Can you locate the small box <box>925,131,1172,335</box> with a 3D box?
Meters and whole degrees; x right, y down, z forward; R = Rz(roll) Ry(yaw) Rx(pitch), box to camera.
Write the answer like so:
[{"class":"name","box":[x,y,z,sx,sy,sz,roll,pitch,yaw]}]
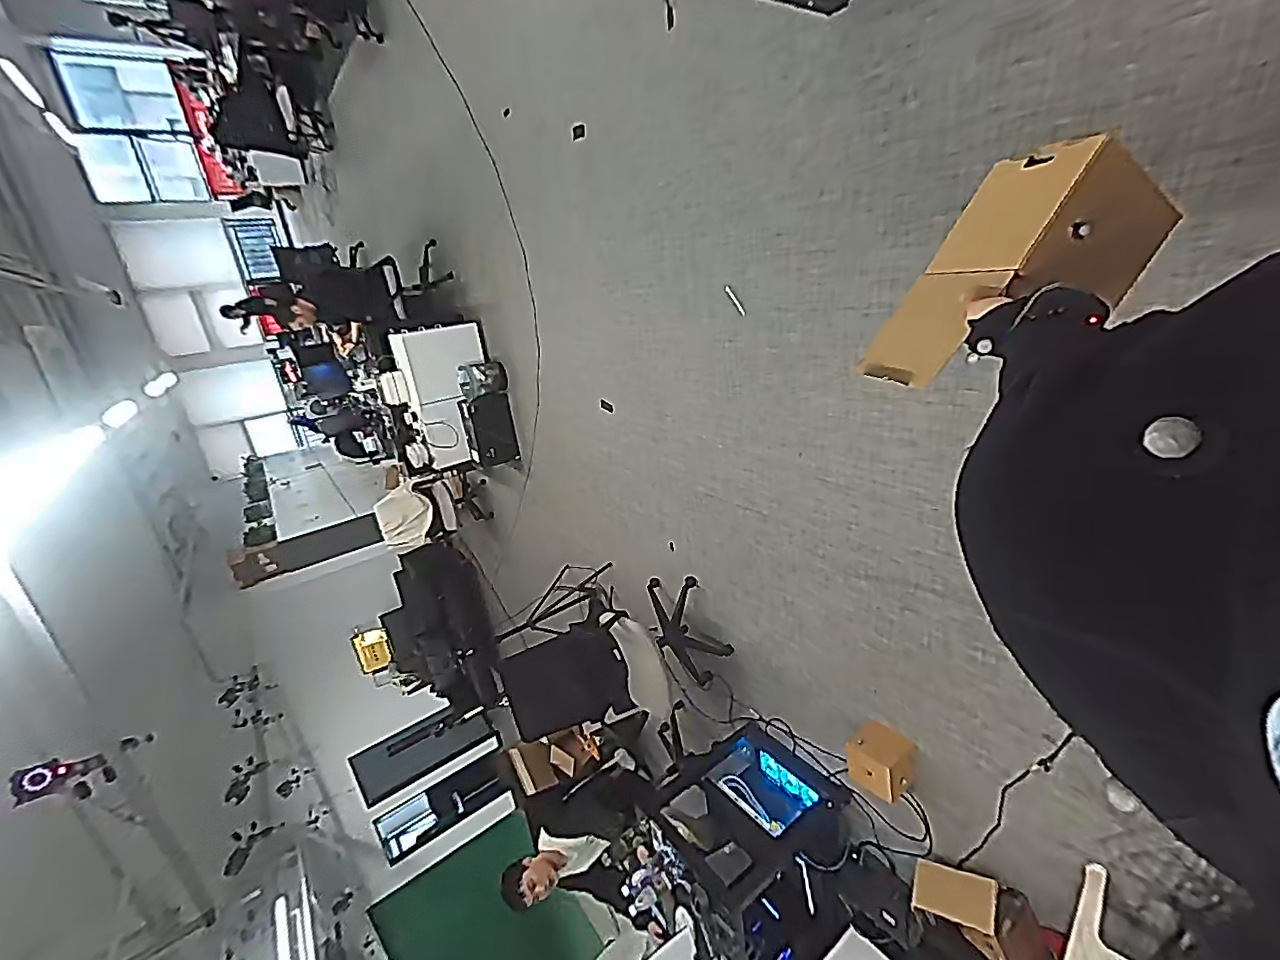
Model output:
[{"class":"small box","box":[0.539,-0.313,0.724,0.179,0.176,0.168,-59,20,11]}]
